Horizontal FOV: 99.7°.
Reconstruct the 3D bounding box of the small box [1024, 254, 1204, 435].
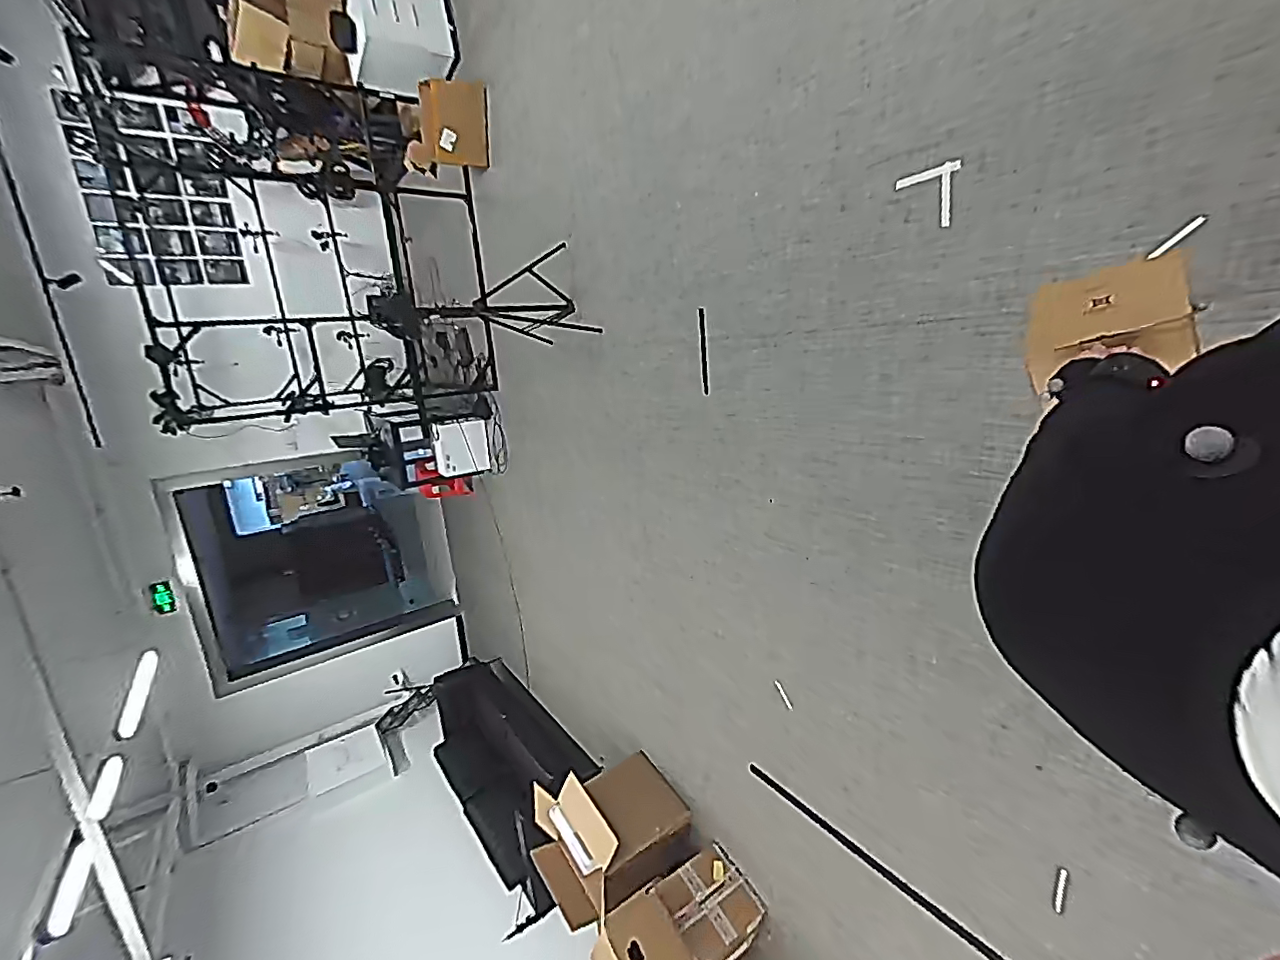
[{"bbox_3d":[0.674,-0.180,0.773,0.168,0.179,0.176,-9,127,46],"label":"small box"}]
